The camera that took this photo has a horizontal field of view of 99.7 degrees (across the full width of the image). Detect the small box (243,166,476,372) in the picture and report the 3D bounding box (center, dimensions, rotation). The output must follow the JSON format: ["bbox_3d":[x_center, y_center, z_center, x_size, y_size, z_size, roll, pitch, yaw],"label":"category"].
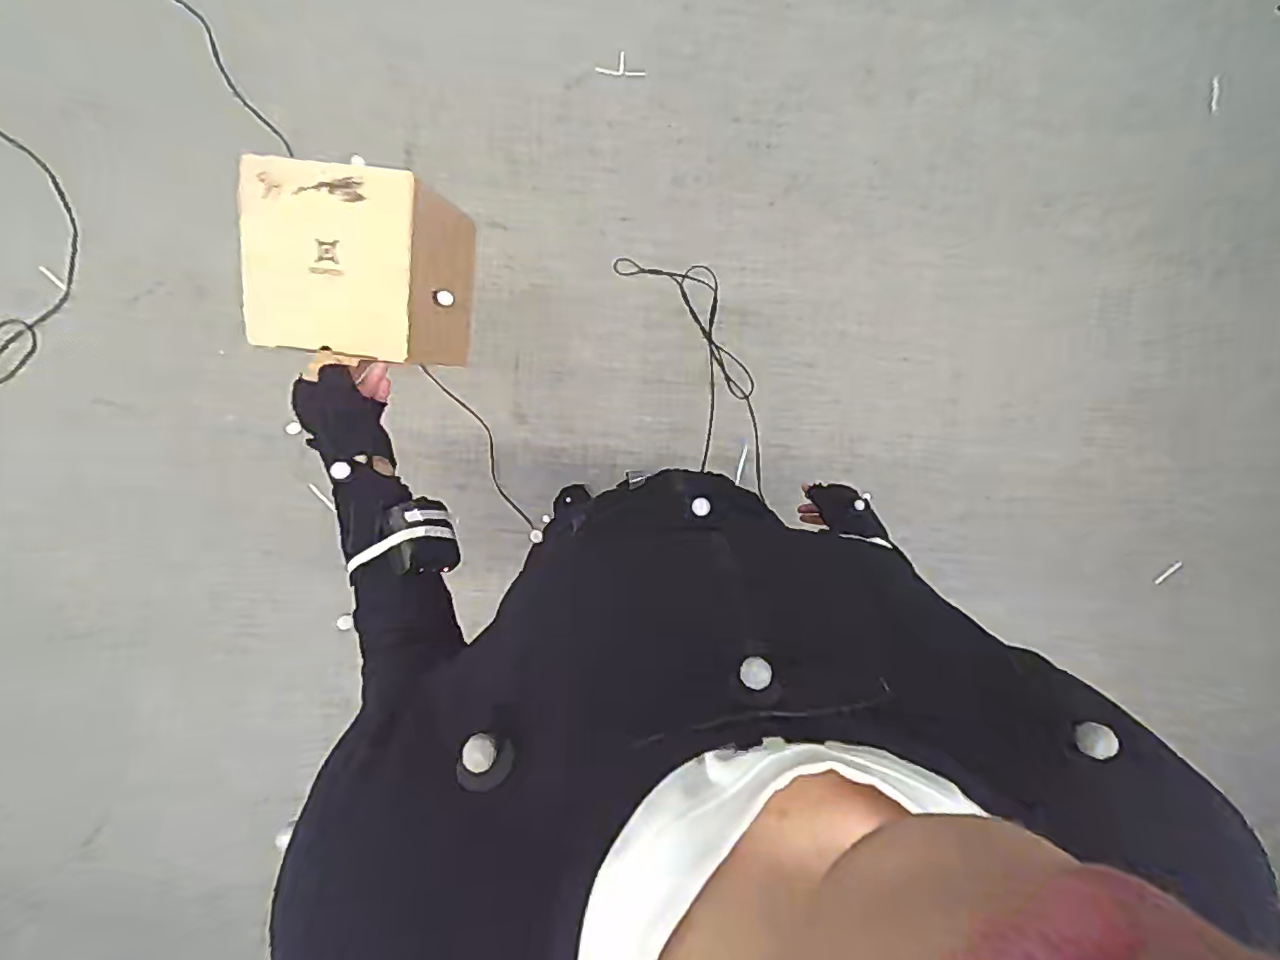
[{"bbox_3d":[-0.291,-0.218,0.597,0.168,0.176,0.179,7,103,4],"label":"small box"}]
